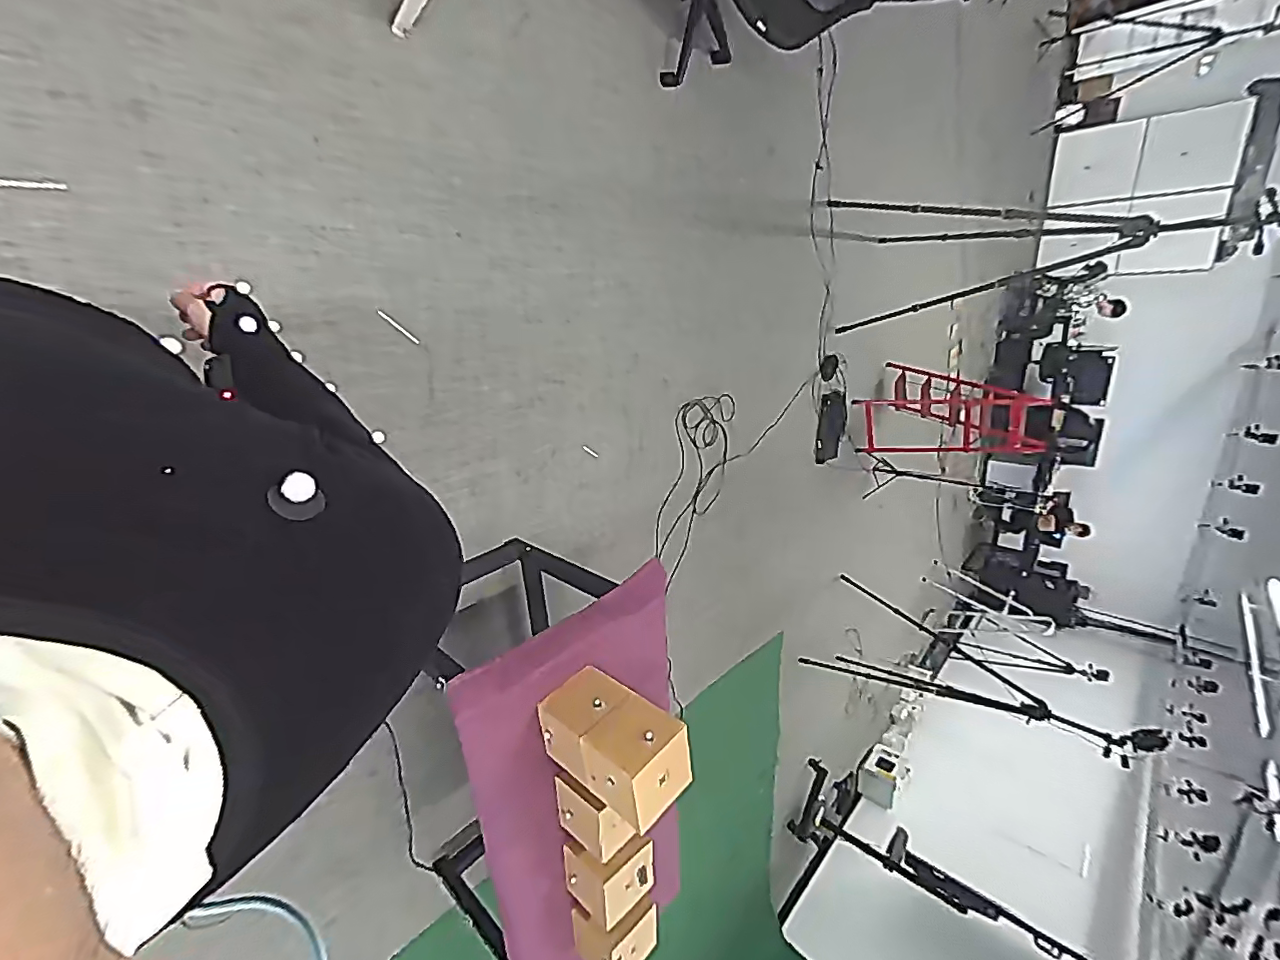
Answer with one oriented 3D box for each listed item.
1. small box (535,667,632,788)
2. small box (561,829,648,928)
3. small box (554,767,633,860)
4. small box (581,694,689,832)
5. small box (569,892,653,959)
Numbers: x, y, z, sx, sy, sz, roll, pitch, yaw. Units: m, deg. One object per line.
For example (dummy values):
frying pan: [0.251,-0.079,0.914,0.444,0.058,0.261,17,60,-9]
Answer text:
small box: [-0.129,0.589,1.316,0.179,0.176,0.168,-26,118,-40]
small box: [-0.095,1.044,1.479,0.179,0.176,0.168,-17,113,-43]
small box: [-0.102,0.820,1.408,0.179,0.176,0.168,-20,114,-43]
small box: [-0.015,0.620,1.205,0.179,0.176,0.168,-27,119,-41]
small box: [-0.082,1.276,1.556,0.179,0.176,0.168,-19,113,-44]
